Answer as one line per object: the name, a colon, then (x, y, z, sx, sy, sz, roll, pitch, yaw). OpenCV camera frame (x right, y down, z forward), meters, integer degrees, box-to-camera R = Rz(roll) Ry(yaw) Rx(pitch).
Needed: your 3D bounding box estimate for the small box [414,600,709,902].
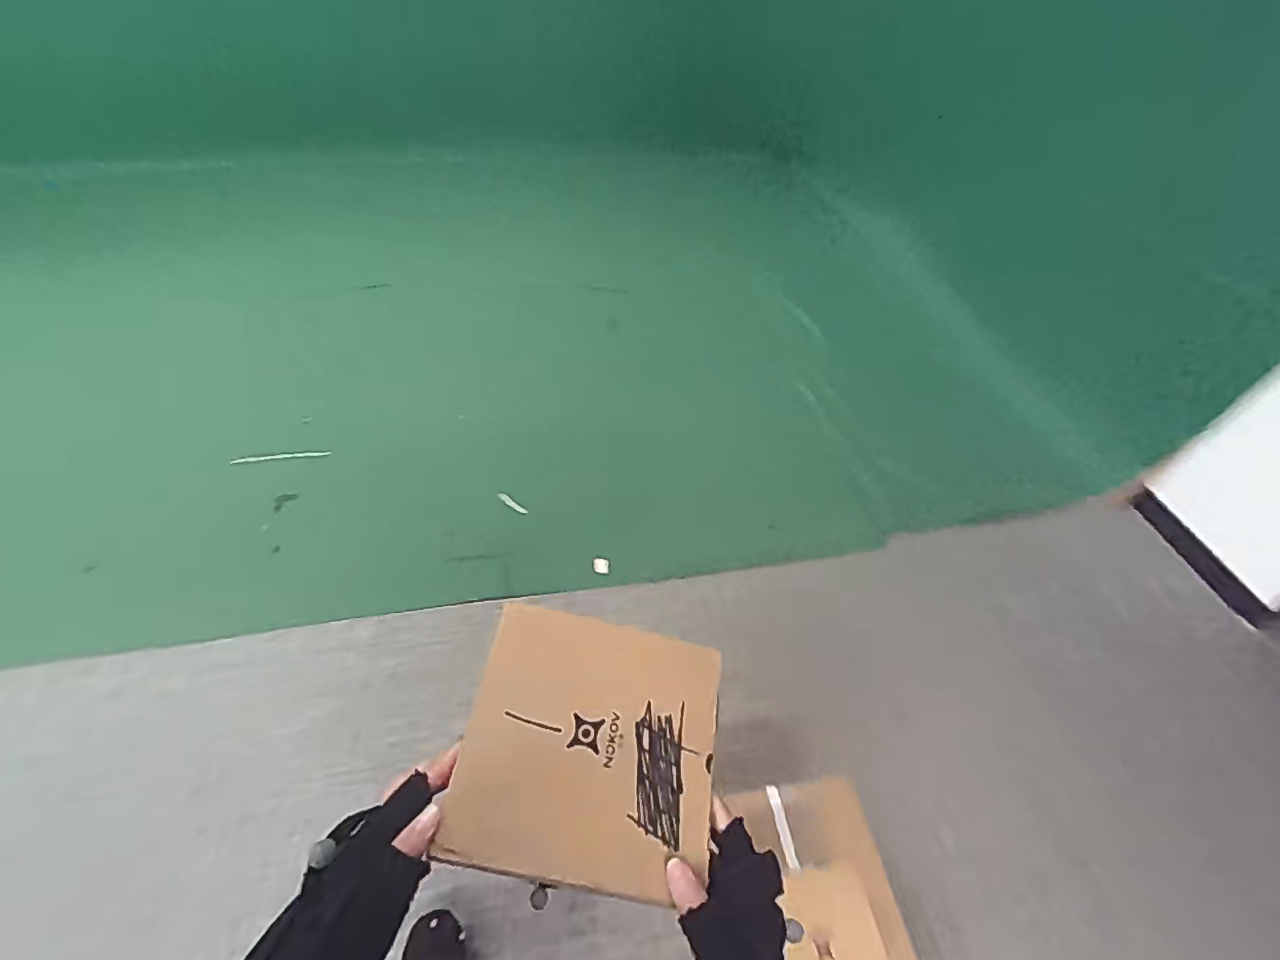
small box: (-0.058, 0.221, 0.437, 0.179, 0.176, 0.168, 14, 53, -6)
